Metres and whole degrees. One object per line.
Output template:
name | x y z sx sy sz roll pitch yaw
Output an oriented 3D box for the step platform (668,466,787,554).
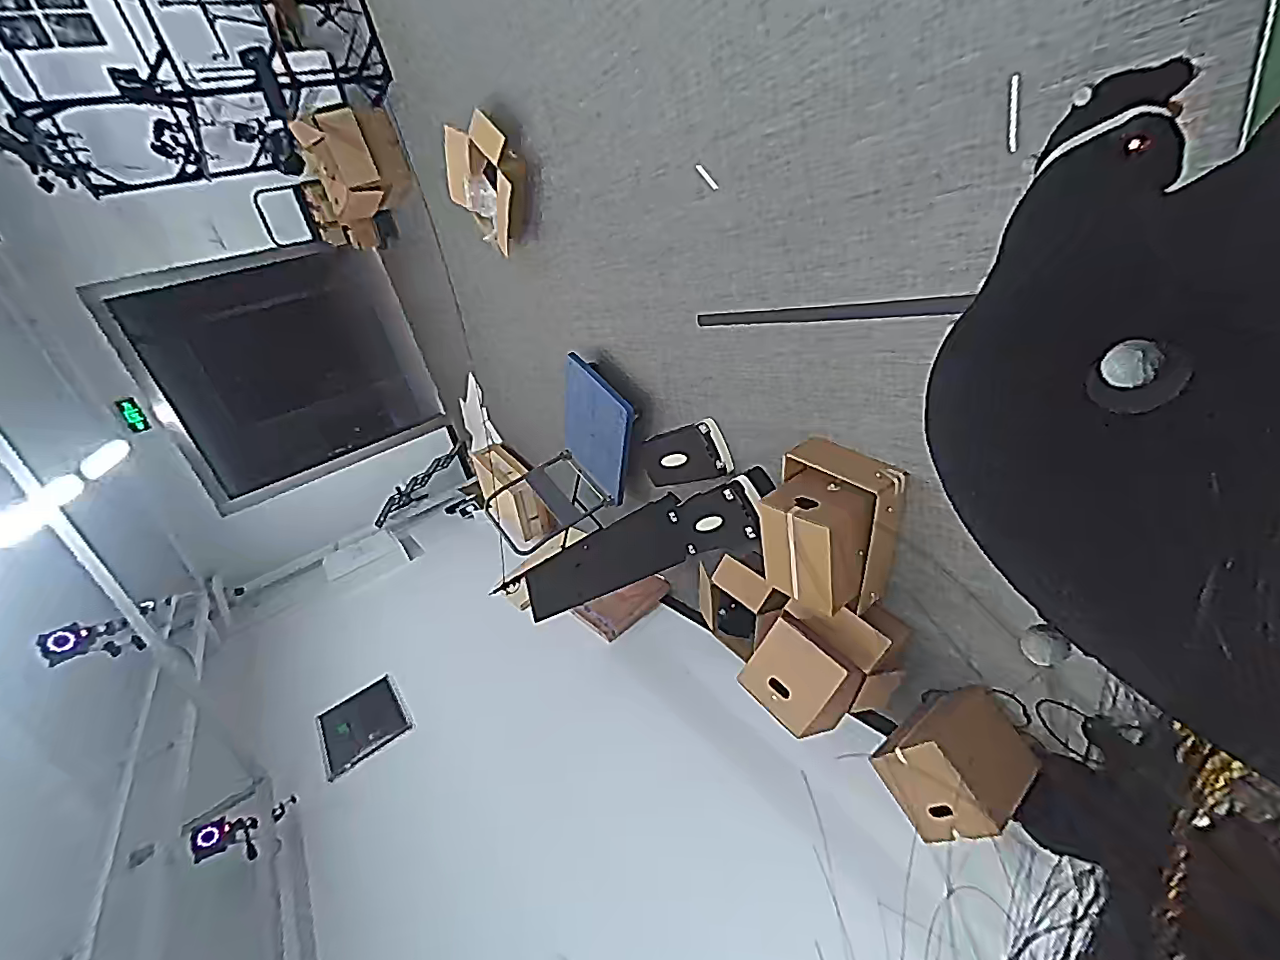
step platform | 0.402 0.170 2.678 0.286 0.204 0.684 60 151 2
